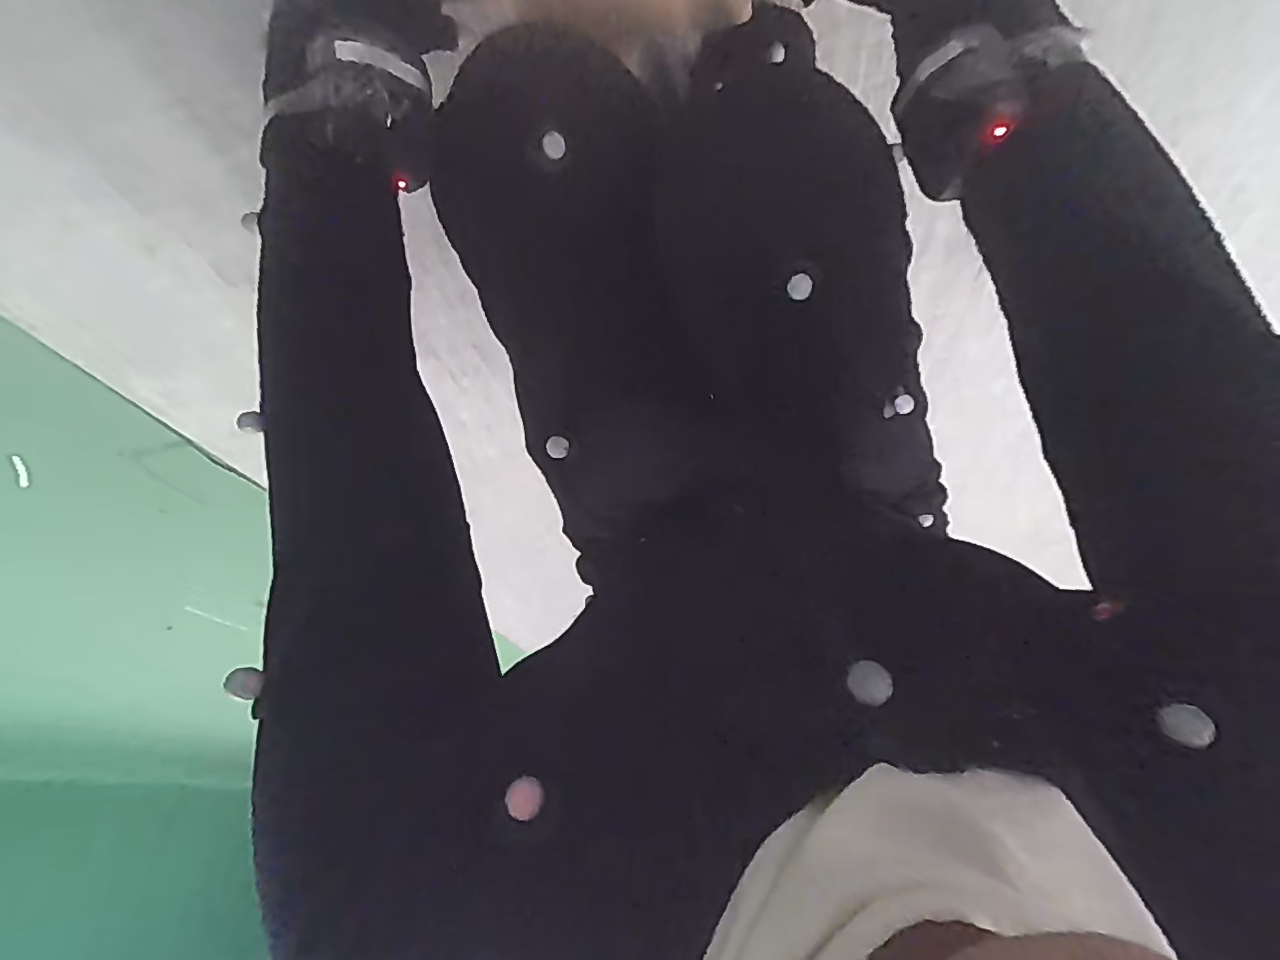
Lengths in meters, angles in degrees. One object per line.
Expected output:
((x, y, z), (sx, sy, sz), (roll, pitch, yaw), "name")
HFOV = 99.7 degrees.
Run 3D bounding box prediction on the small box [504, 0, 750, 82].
((-0.024, -0.436, 0.390), (0.179, 0.176, 0.168), (-10, 146, 8), "small box")
